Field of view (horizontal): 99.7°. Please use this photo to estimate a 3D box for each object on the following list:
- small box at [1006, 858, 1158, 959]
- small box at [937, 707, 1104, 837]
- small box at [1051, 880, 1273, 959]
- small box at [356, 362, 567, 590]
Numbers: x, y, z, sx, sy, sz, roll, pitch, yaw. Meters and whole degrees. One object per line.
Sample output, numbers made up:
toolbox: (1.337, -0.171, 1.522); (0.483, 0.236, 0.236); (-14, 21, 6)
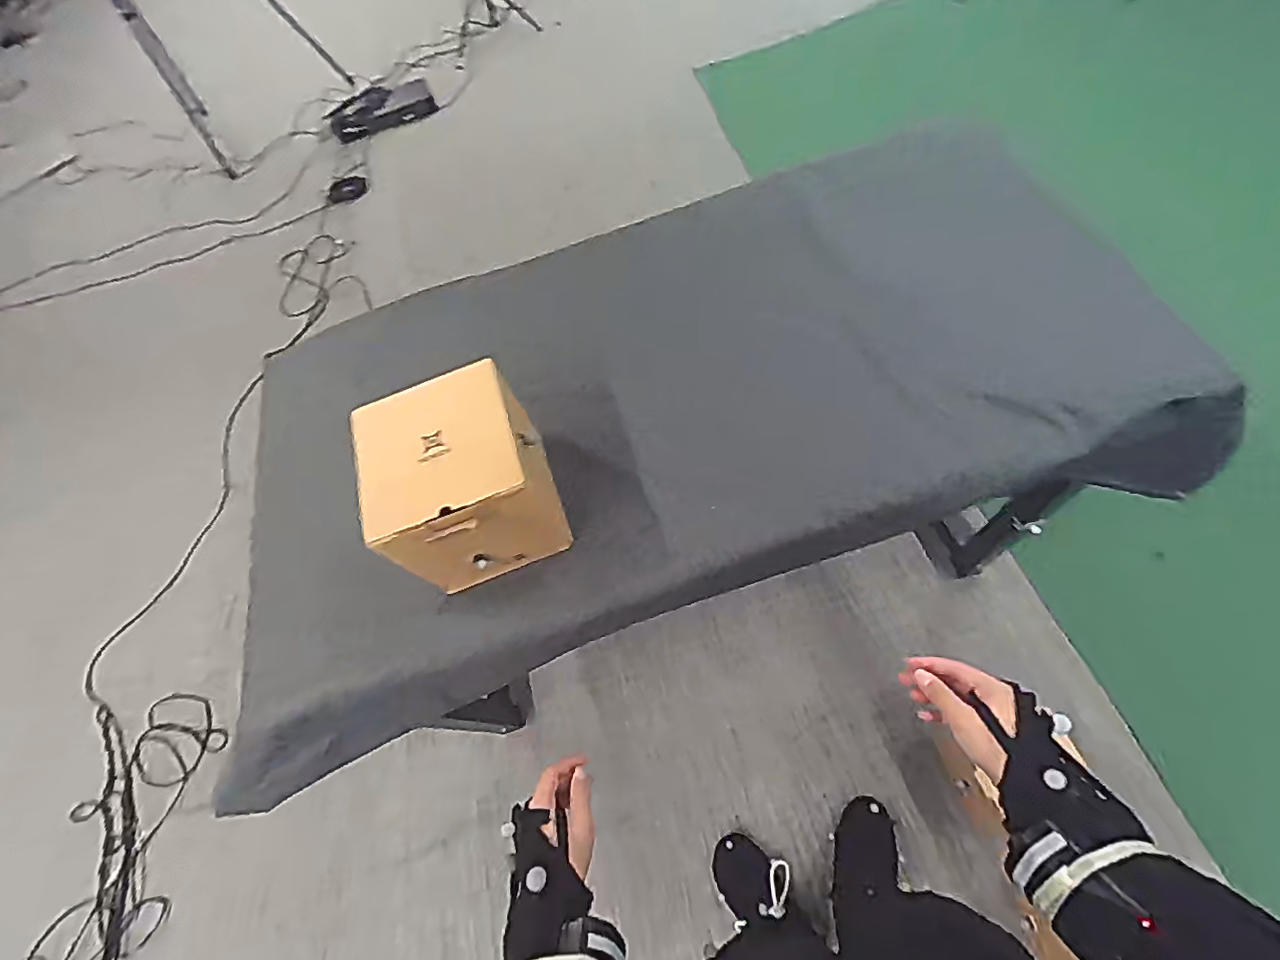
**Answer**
small box: (0.757, 0.745, 0.890); (0.179, 0.176, 0.168); (-16, 60, 4)
small box: (0.686, 0.543, 1.009); (0.179, 0.176, 0.168); (-20, 60, 0)
small box: (0.728, 0.676, 0.743); (0.179, 0.176, 0.168); (-16, 60, 3)
small box: (-0.200, 0.002, 0.629); (0.168, 0.176, 0.179); (-22, 61, -1)
